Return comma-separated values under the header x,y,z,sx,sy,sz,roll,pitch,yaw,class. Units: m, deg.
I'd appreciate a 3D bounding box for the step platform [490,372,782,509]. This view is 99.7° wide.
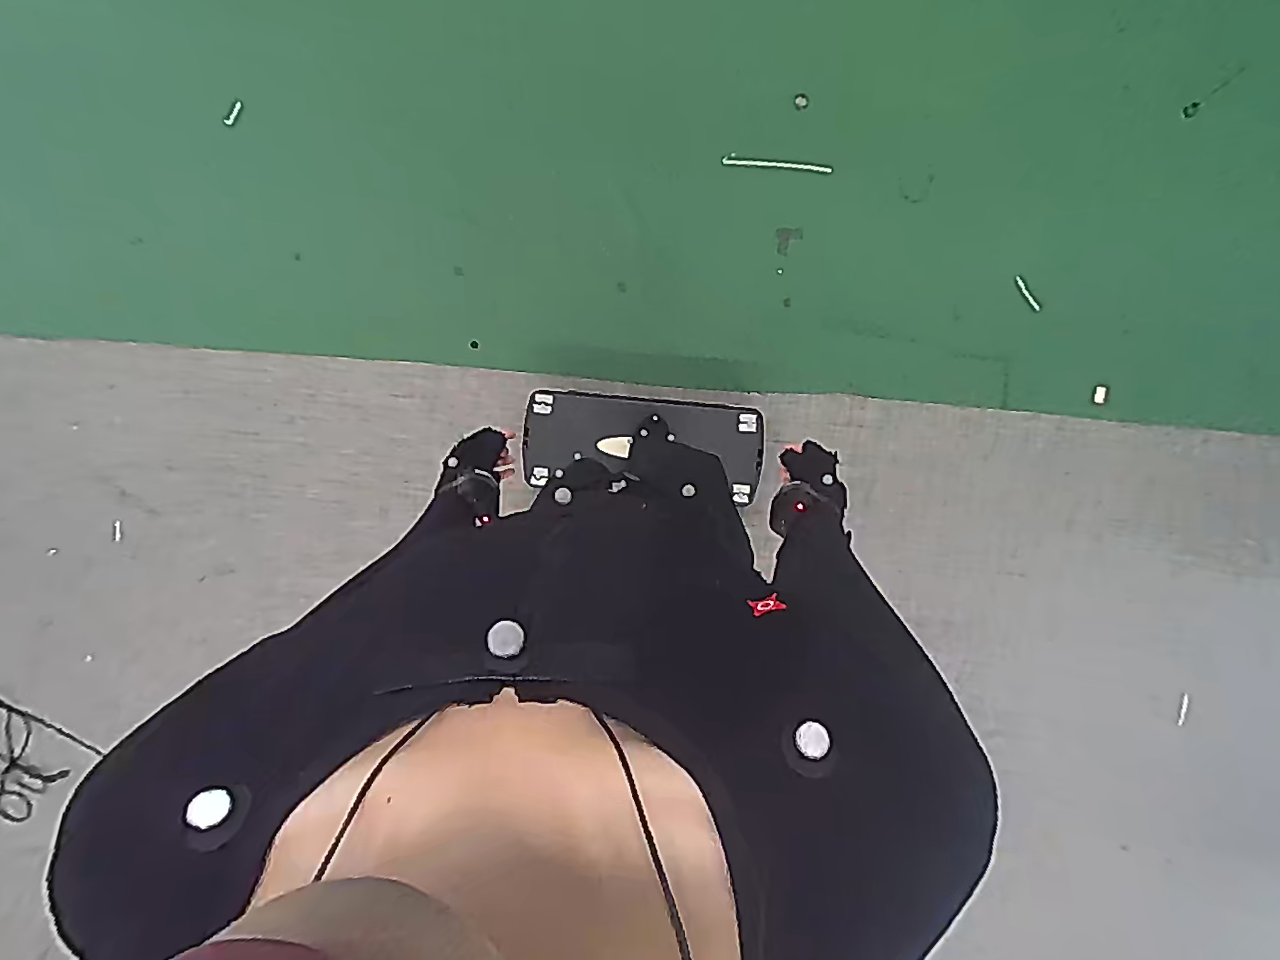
x,y,z,sx,sy,sz,roll,pitch,yaw,class
-0.011,-0.101,1.354,0.684,0.204,0.286,4,97,2,step platform
